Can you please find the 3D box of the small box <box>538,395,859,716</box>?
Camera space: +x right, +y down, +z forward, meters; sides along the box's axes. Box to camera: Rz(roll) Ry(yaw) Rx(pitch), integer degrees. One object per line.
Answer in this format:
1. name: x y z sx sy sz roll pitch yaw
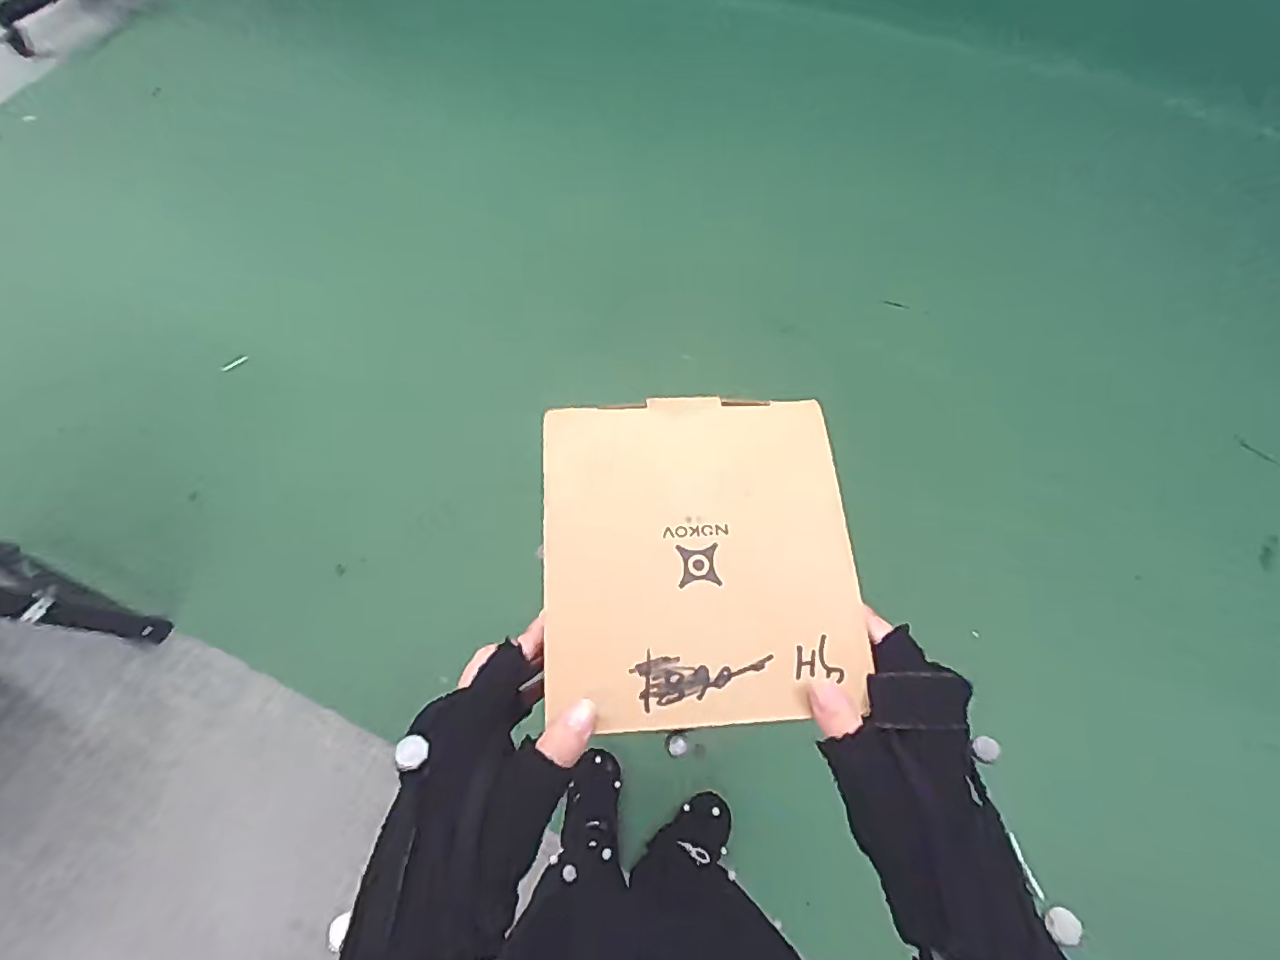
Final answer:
1. small box: 0.021 0.058 0.372 0.168 0.176 0.179 -2 72 -4
